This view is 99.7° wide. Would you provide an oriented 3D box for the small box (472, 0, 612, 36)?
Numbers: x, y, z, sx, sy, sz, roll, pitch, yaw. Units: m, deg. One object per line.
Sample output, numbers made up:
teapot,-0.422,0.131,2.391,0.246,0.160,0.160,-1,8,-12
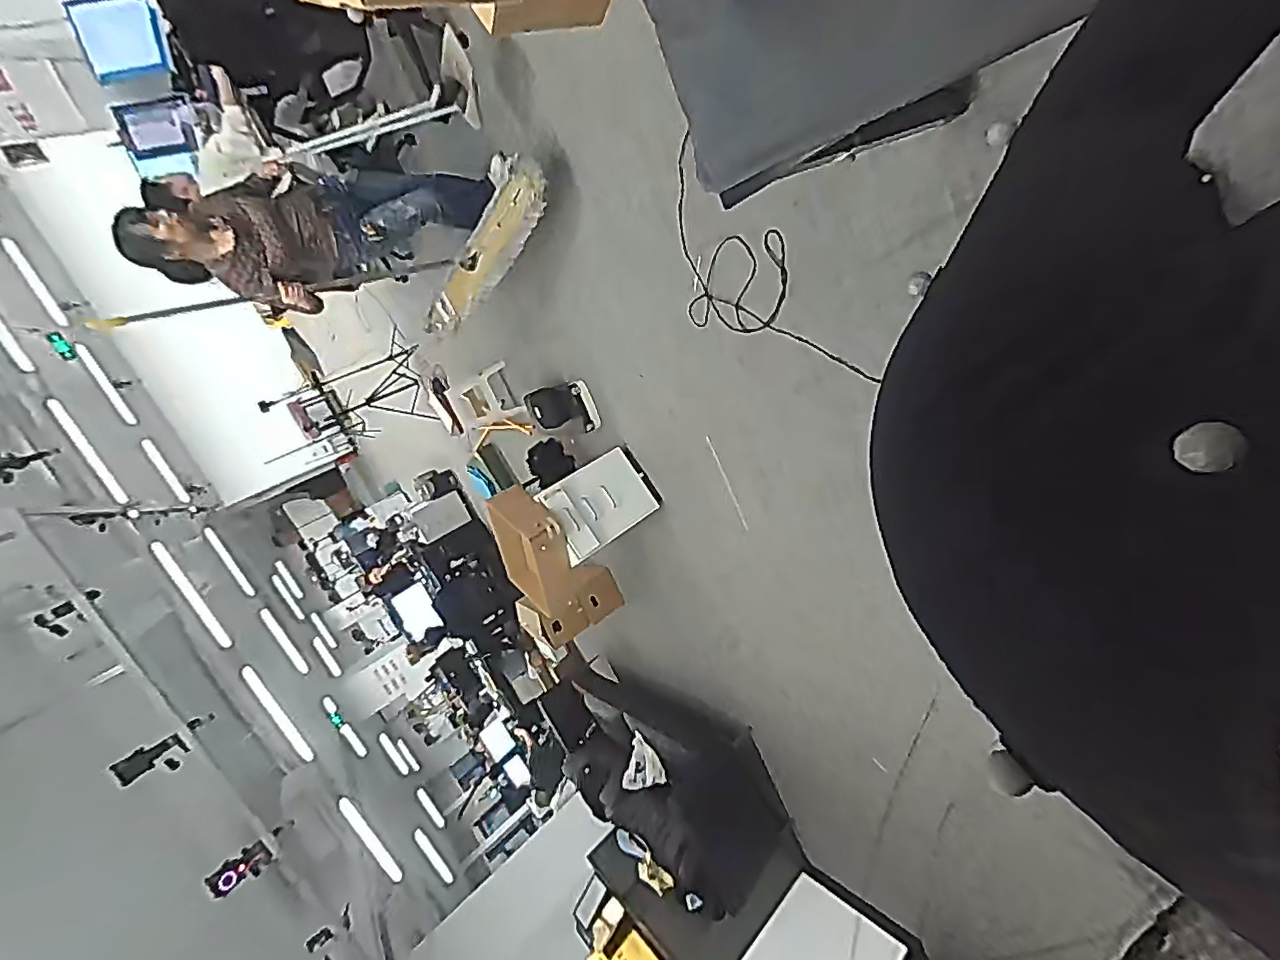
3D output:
small box,-0.114,-0.632,0.577,0.168,0.176,0.179,56,151,1
